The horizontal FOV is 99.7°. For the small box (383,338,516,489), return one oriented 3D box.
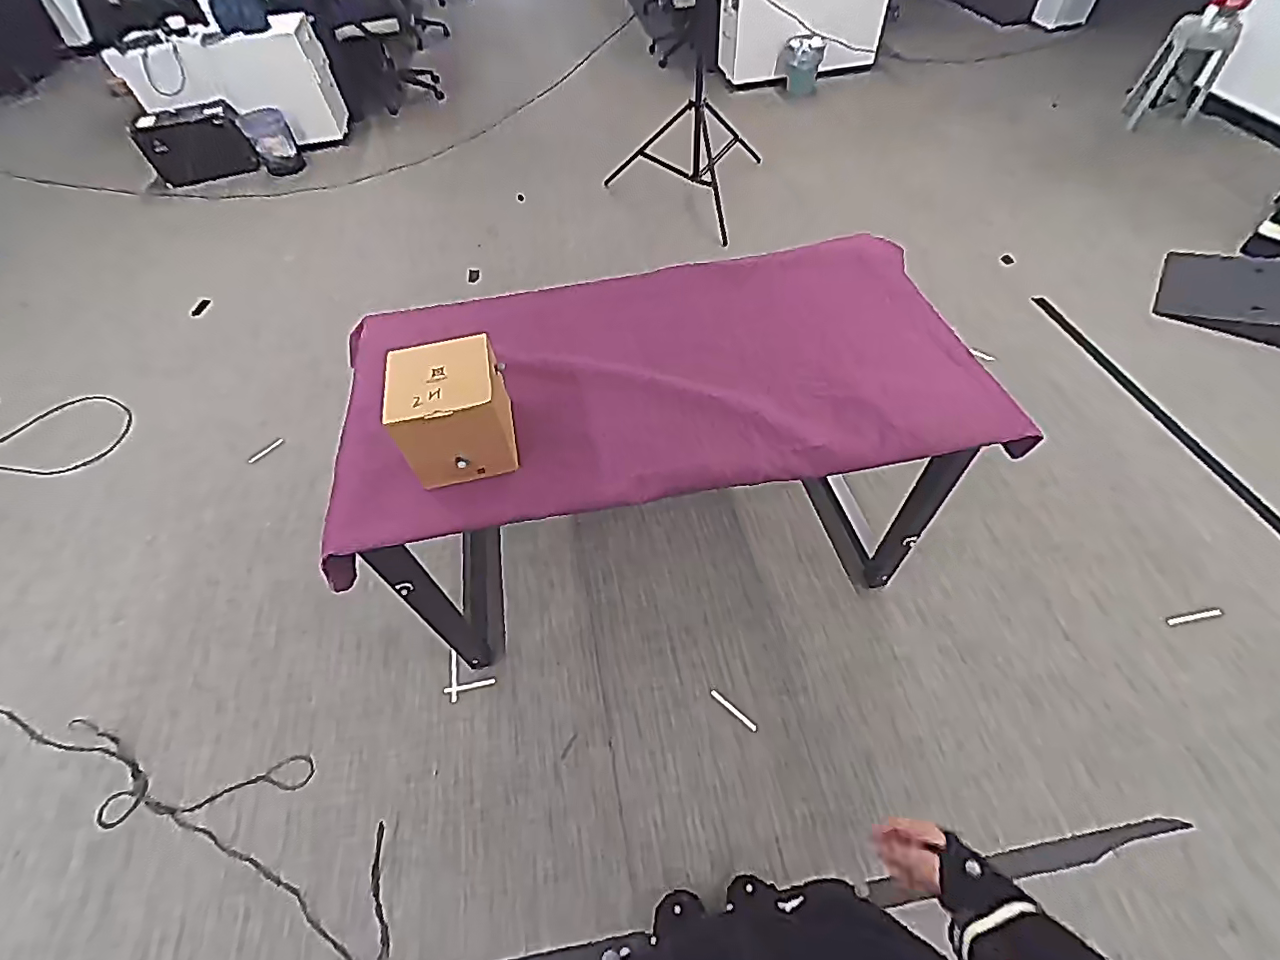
[{"bbox_3d":[-0.318,-0.111,0.928,0.168,0.176,0.179,-13,53,-5],"label":"small box"}]
